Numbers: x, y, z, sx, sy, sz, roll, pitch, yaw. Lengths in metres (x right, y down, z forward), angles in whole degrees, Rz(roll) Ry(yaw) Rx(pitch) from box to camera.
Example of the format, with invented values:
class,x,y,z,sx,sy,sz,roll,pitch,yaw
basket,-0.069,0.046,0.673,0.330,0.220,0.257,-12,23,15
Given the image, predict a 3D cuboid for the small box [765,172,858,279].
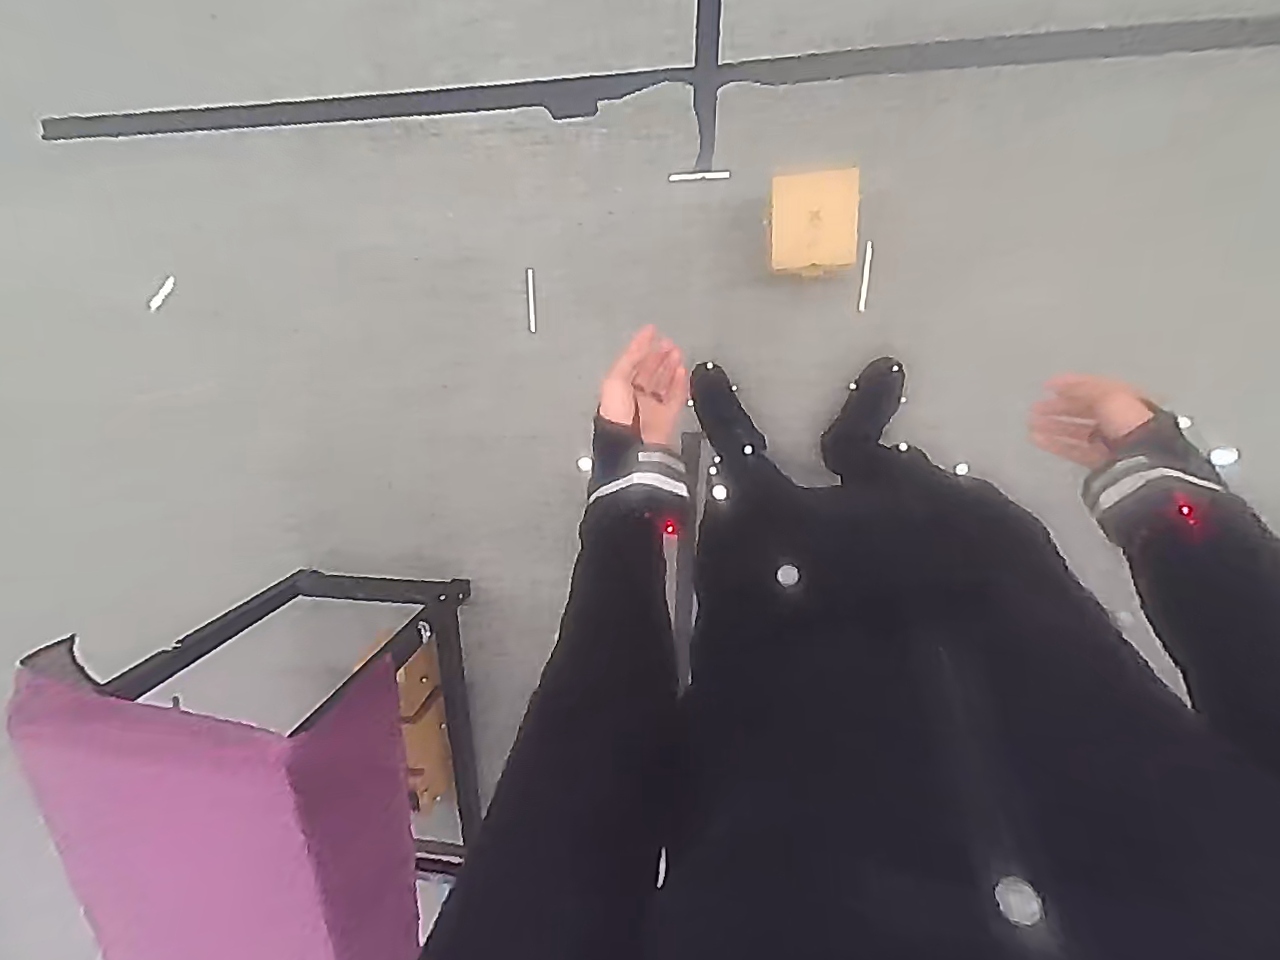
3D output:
class,x,y,z,sx,sy,sz,roll,pitch,yaw
small box,0.355,-0.530,1.148,0.168,0.176,0.179,-1,107,10
